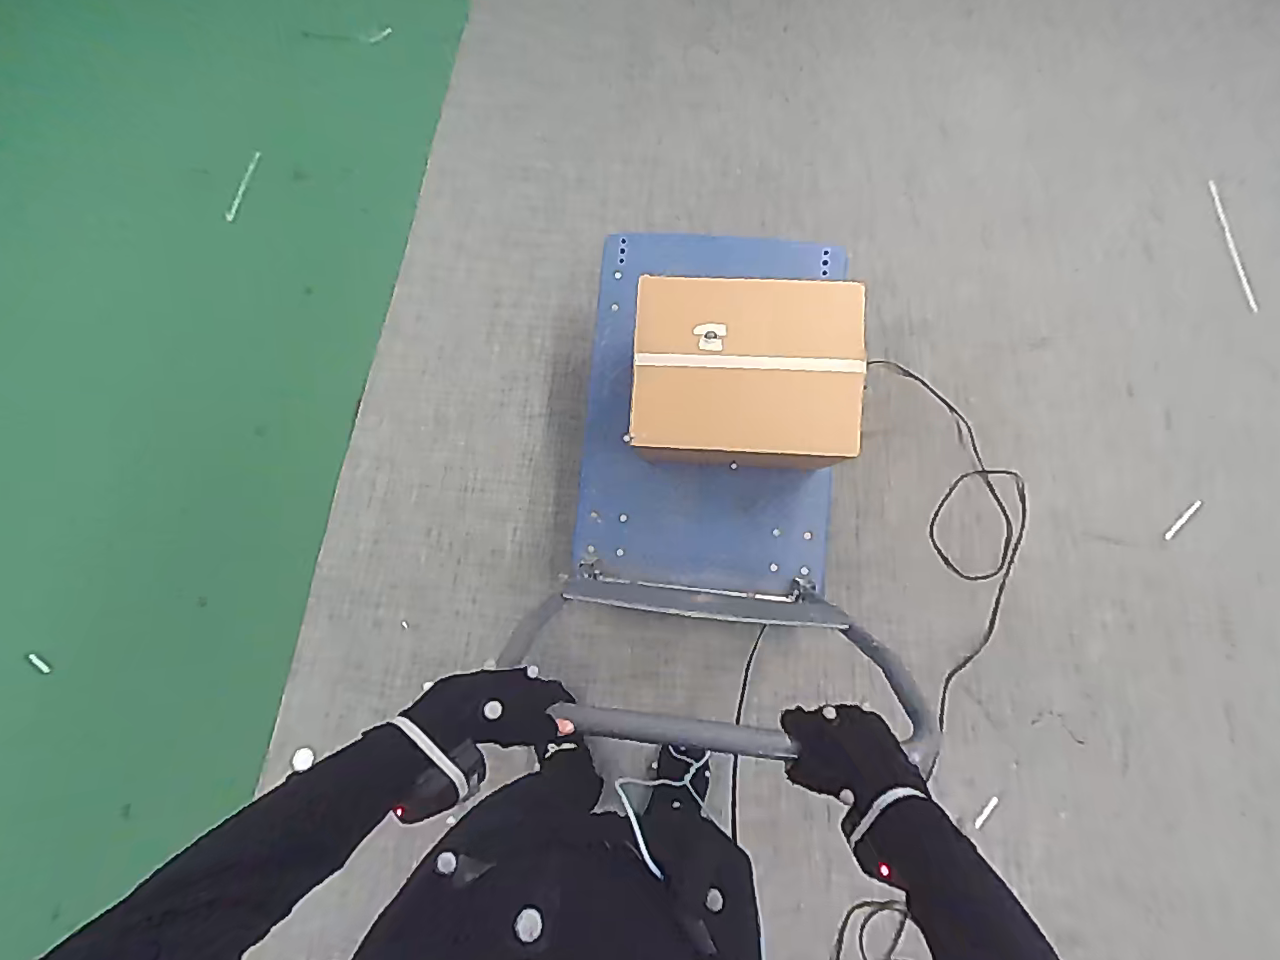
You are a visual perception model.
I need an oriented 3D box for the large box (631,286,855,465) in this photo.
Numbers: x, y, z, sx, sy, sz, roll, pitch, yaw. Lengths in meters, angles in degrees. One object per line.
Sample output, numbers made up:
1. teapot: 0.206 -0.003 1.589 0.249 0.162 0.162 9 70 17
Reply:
1. large box: 0.200 -0.192 1.126 0.408 0.320 0.320 2 87 6
